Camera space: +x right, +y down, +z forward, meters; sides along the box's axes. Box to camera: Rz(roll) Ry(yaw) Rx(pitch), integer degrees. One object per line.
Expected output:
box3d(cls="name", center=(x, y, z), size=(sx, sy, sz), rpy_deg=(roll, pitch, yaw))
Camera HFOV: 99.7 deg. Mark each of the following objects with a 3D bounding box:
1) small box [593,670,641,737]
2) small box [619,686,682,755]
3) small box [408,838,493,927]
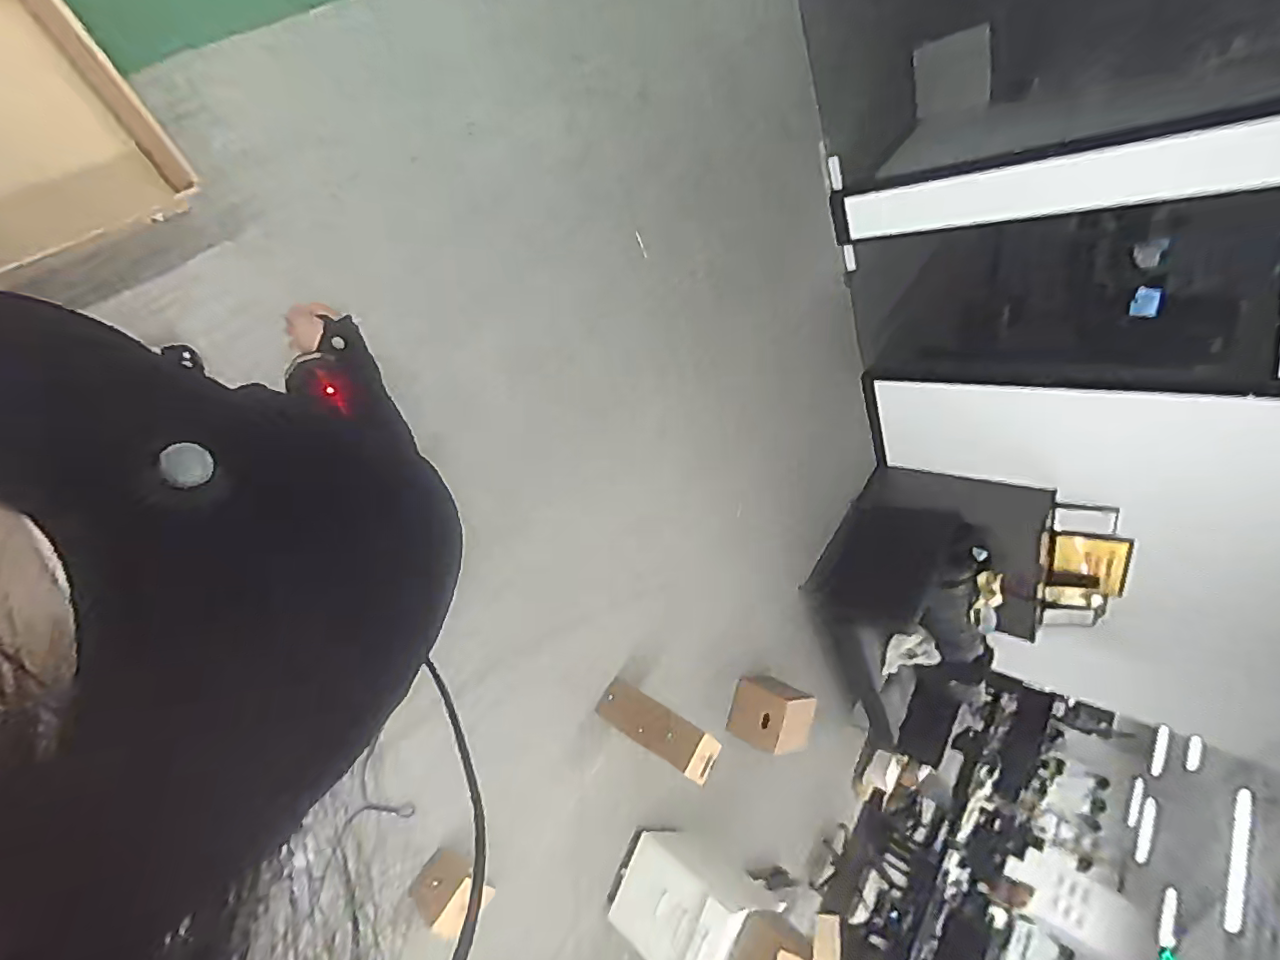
box3d(cls="small box", center=(-0.078, 0.958, 2.327), size=(0.179, 0.176, 0.168), rpy_deg=(-51, 133, -24))
box3d(cls="small box", center=(0.035, 0.981, 2.211), size=(0.179, 0.176, 0.168), rpy_deg=(-55, 135, -24))
box3d(cls="small box", center=(-0.641, 1.347, 1.819), size=(0.168, 0.176, 0.179), rpy_deg=(-52, 132, -24))
